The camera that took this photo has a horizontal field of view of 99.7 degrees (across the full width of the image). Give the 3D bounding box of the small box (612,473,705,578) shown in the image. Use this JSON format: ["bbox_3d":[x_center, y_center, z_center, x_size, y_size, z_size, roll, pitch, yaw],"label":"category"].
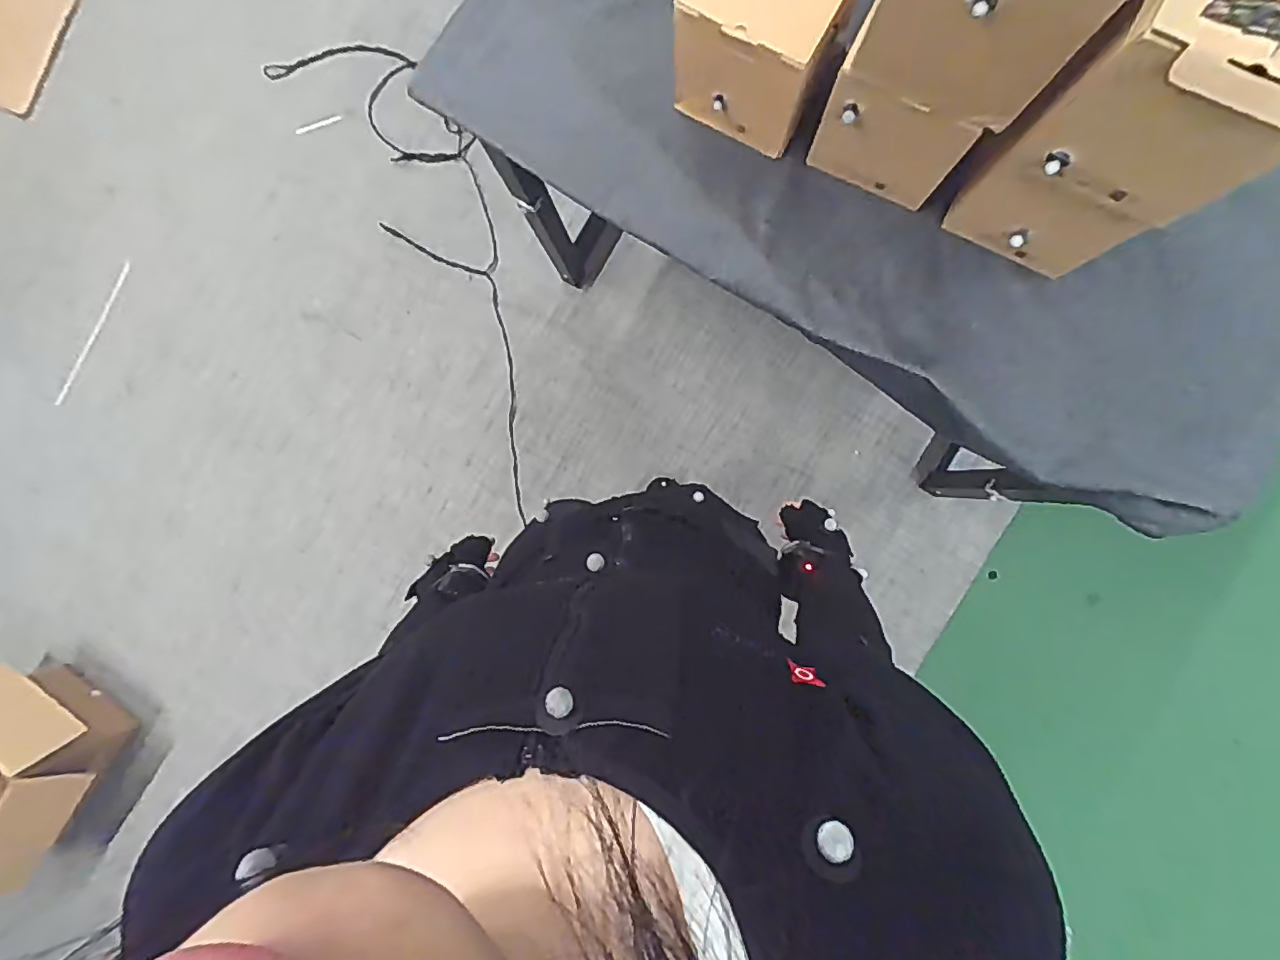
[{"bbox_3d":[0.049,0.121,1.410,0.179,0.176,0.168,-36,58,-18],"label":"small box"}]
